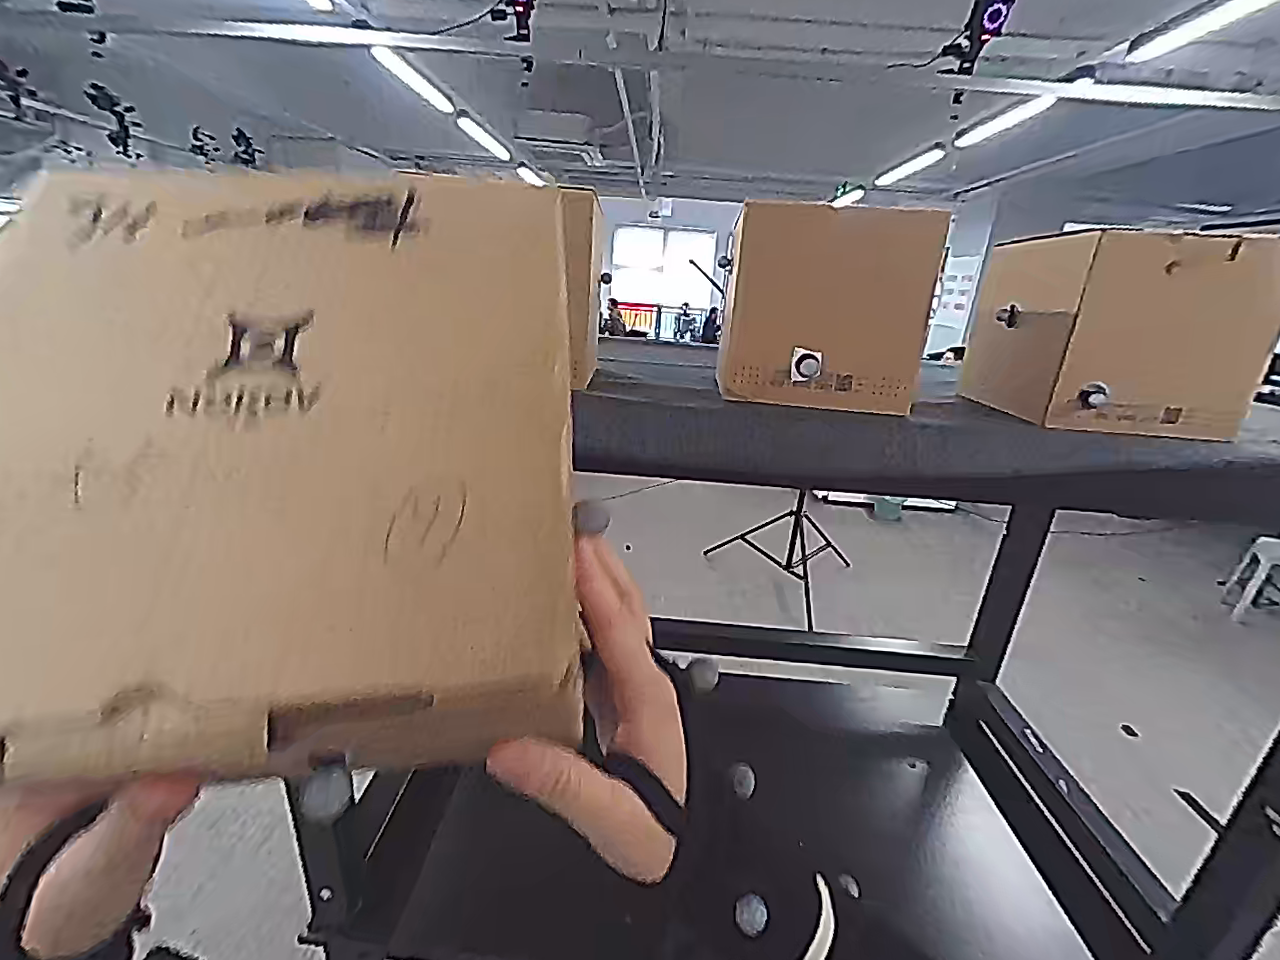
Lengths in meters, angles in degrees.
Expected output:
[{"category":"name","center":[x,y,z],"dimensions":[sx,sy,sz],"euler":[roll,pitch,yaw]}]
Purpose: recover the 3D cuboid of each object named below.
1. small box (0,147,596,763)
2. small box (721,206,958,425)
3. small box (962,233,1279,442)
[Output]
[{"category":"small box","center":[-0.102,0.007,0.210],"dimensions":[0.168,0.176,0.179],"euler":[-2,61,-8]},{"category":"small box","center":[0.172,-0.158,0.532],"dimensions":[0.168,0.176,0.179],"euler":[5,18,4]},{"category":"small box","center":[0.455,-0.139,0.532],"dimensions":[0.168,0.176,0.179],"euler":[5,18,3]}]
